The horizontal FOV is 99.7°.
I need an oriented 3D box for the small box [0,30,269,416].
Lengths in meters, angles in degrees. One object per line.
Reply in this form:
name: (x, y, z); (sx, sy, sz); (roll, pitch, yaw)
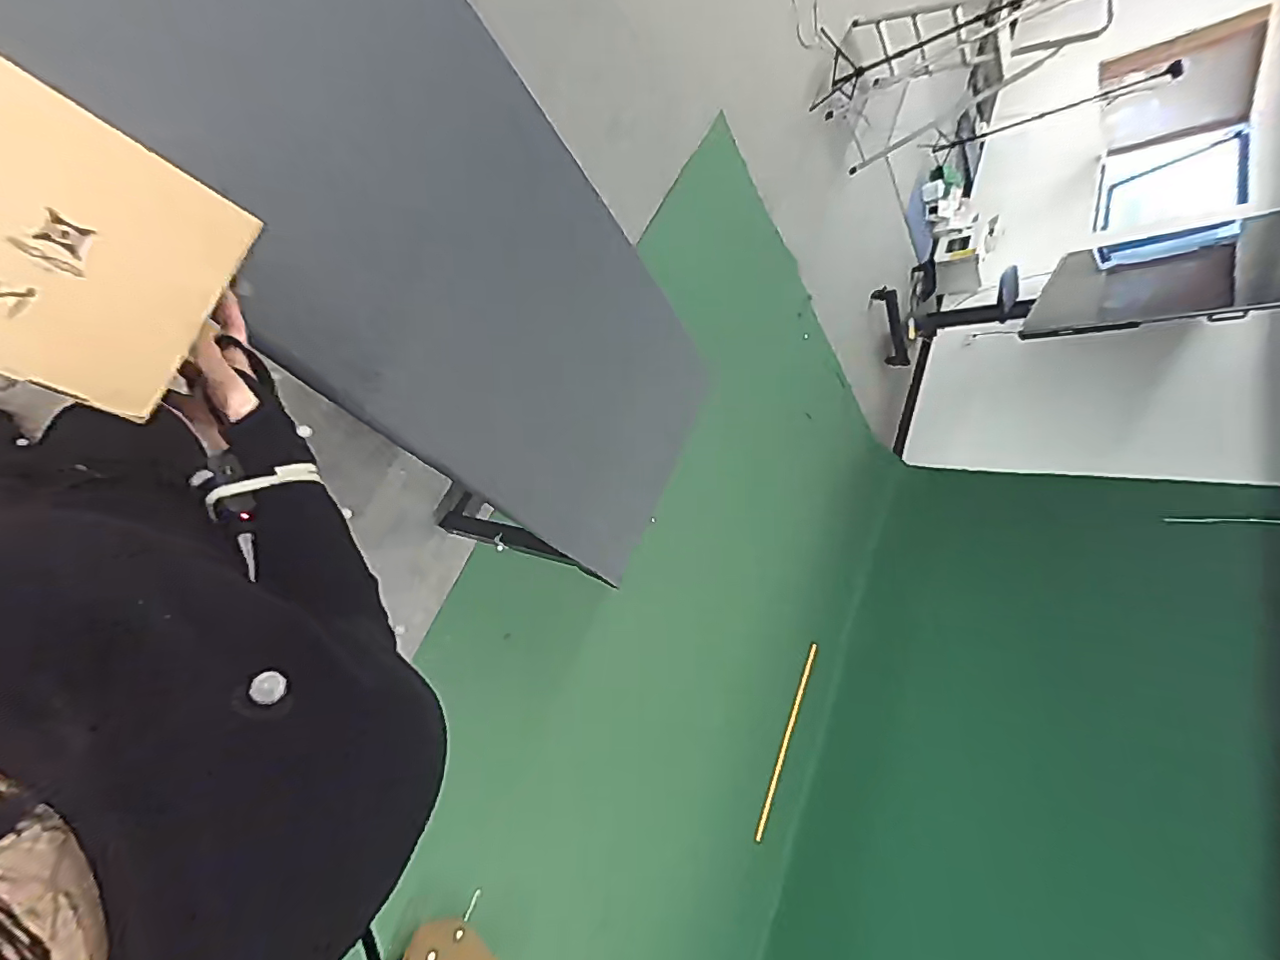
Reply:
small box: (-0.420, -0.163, 0.395); (0.168, 0.176, 0.179); (34, 71, -43)

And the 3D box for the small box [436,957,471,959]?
small box: (-0.534, 1.484, 1.514); (0.179, 0.176, 0.168); (44, 62, -43)
